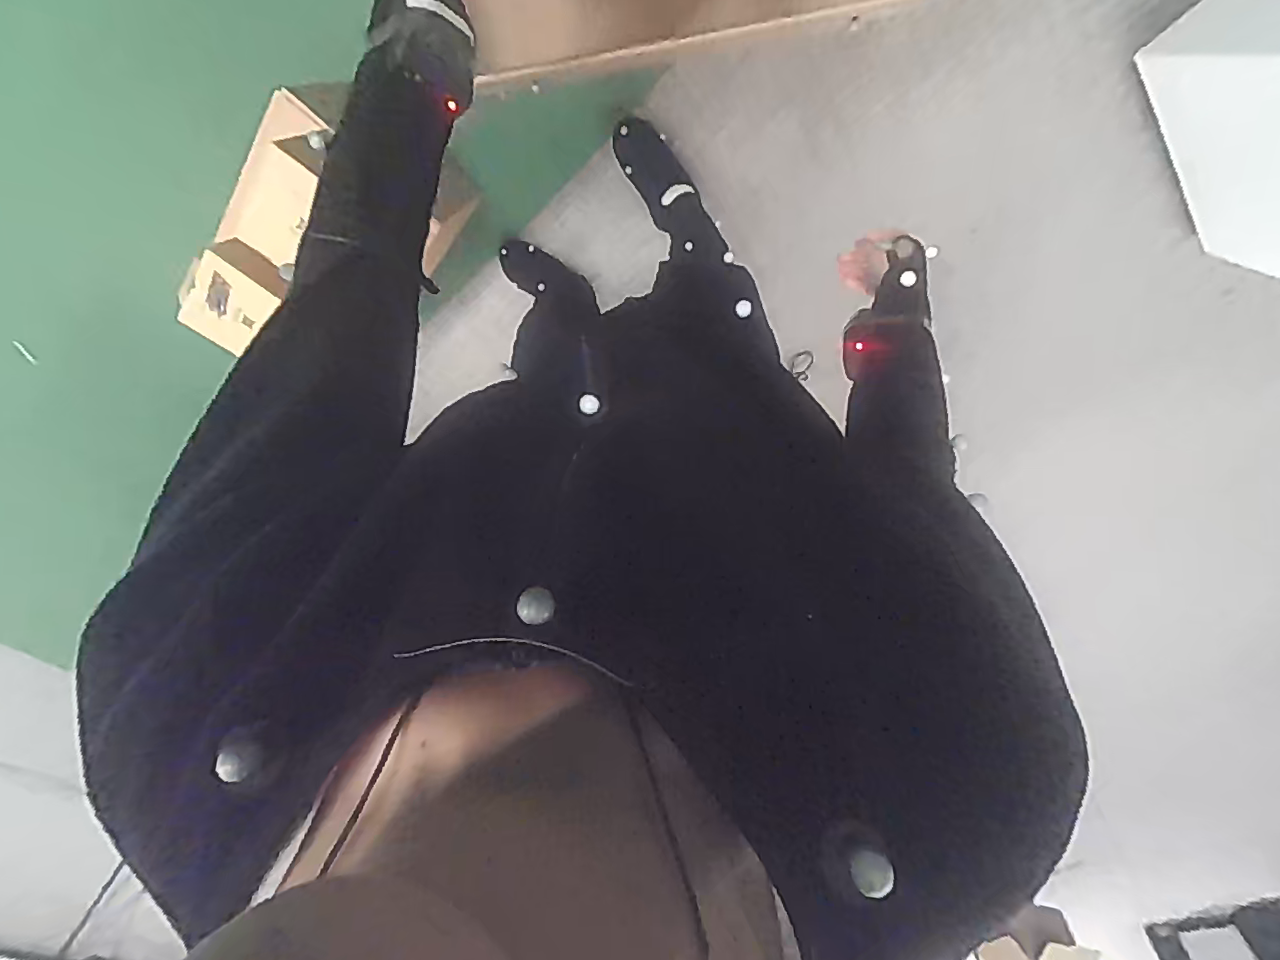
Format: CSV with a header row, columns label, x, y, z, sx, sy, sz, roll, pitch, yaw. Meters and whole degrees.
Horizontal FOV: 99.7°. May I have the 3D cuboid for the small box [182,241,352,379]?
label,x,y,z,sx,sy,sz,roll,pitch,yaw
small box,-0.686,-0.329,1.012,0.179,0.176,0.168,37,120,-23
